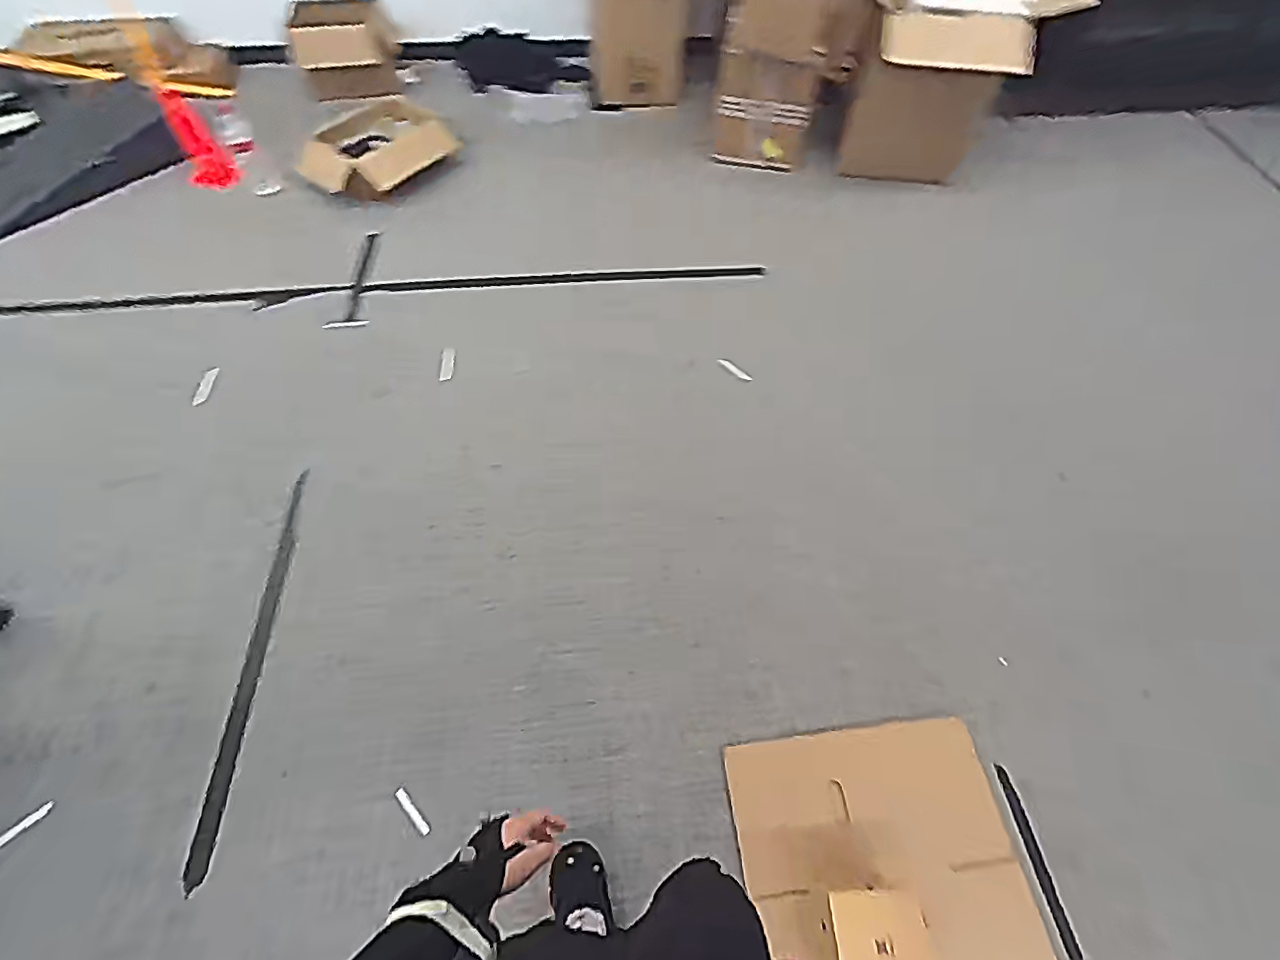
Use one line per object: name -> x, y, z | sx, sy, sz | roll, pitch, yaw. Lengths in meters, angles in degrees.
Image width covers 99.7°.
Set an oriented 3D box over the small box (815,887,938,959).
small box -> 0.450, 0.899, 1.047 | 0.179, 0.176, 0.168 | -1, 57, -1
